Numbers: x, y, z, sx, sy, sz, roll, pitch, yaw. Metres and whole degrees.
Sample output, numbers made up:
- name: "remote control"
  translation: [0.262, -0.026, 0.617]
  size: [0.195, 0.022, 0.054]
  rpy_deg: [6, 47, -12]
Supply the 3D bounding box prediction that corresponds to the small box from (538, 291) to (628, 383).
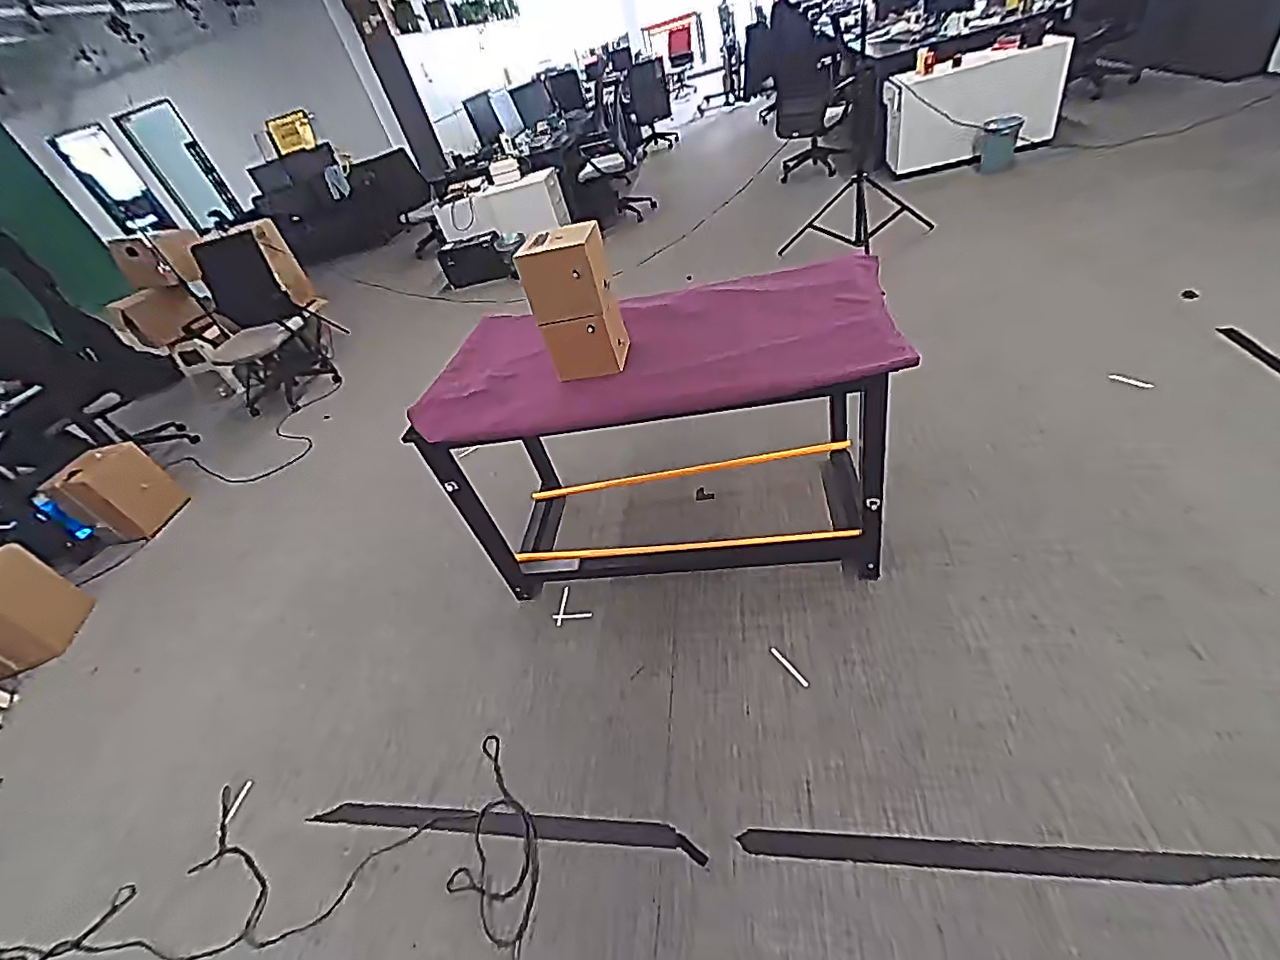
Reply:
- name: "small box"
  translation: [-0.143, -0.373, 1.427]
  size: [0.179, 0.176, 0.168]
  rpy_deg: [-6, 40, 14]
